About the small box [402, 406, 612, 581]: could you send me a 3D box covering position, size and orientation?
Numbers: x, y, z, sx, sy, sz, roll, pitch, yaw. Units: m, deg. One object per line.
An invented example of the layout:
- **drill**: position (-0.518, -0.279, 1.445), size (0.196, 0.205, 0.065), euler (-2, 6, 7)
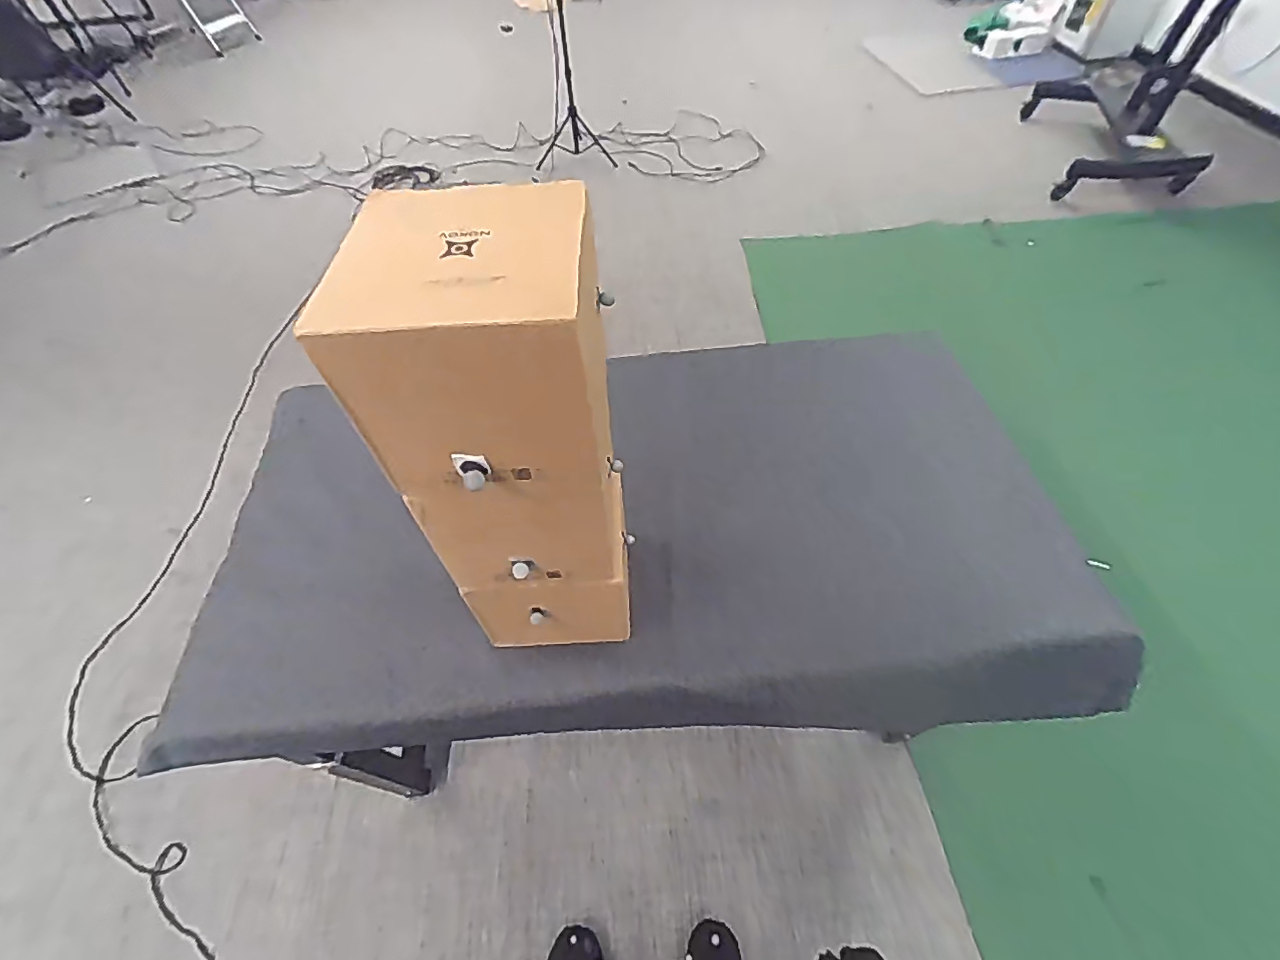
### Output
- **small box**: position (-0.116, -0.012, 0.557), size (0.168, 0.176, 0.179), euler (-2, 53, 0)

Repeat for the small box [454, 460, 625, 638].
- **small box**: position (-0.111, 0.092, 0.684), size (0.179, 0.176, 0.168), euler (-2, 53, 0)

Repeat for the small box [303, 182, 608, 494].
- **small box**: position (-0.115, -0.108, 0.426), size (0.168, 0.176, 0.179), euler (-2, 54, 1)
